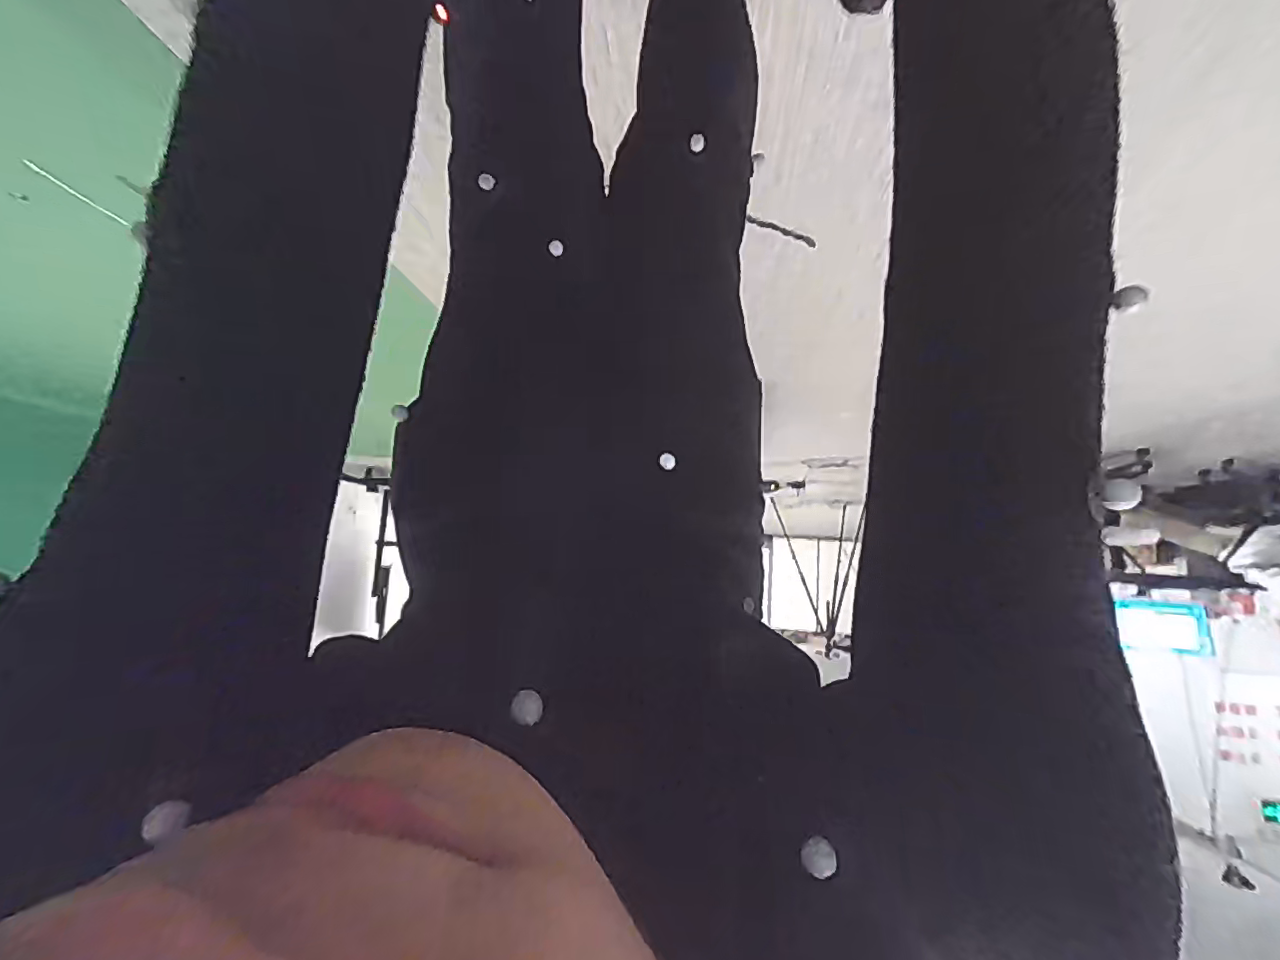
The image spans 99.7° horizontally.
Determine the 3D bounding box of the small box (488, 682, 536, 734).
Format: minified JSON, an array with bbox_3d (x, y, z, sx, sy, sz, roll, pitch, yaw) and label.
[{"bbox_3d":[-0.565,1.012,2.412,0.179,0.176,0.168,4,173,3],"label":"small box"}]
